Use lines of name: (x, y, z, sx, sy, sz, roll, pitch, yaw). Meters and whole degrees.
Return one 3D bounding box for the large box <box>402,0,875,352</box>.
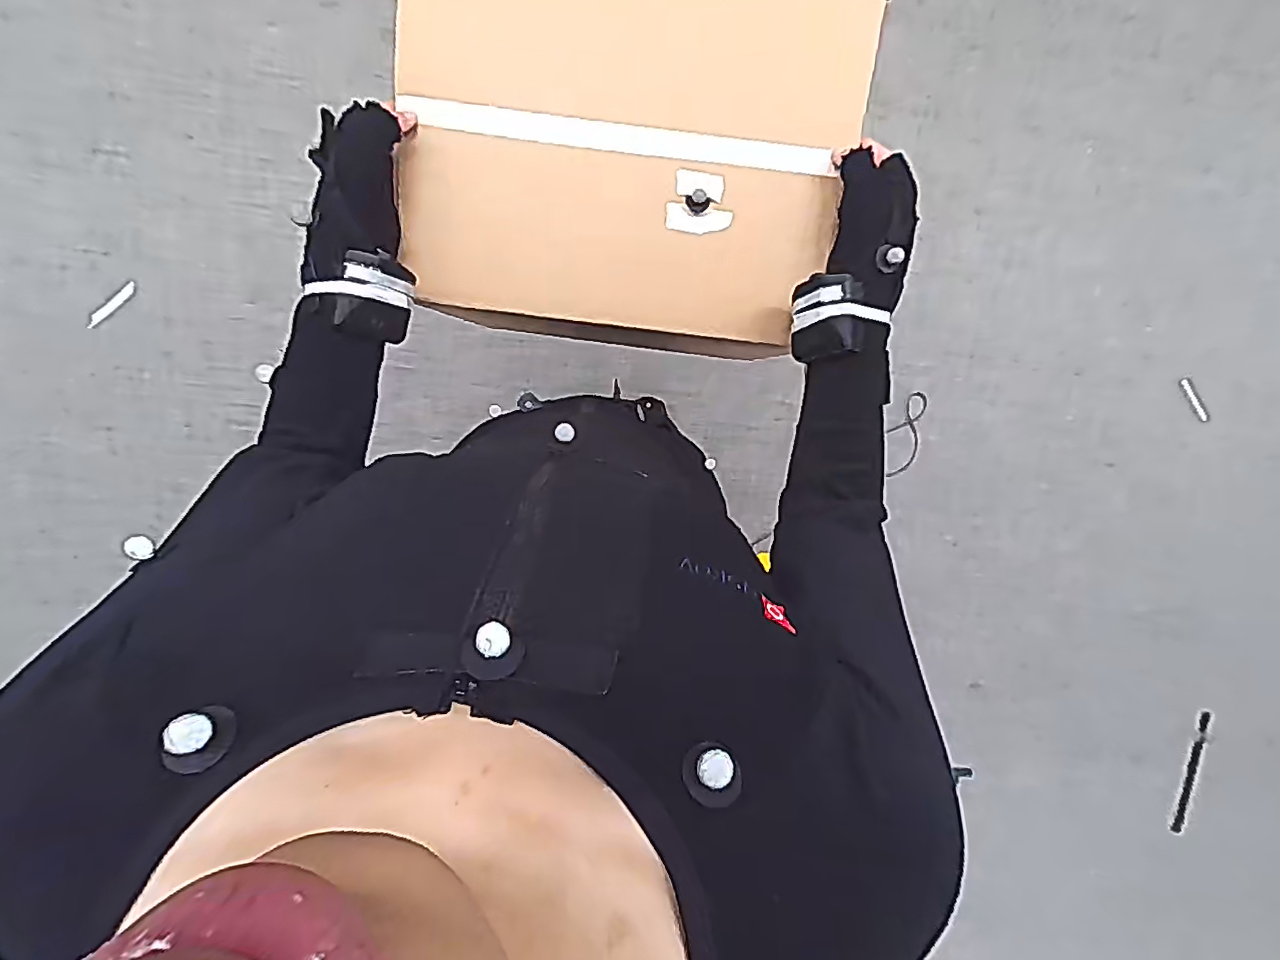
large box: (-0.013, -0.330, 0.624, 0.408, 0.320, 0.320, 6, 101, -2)
